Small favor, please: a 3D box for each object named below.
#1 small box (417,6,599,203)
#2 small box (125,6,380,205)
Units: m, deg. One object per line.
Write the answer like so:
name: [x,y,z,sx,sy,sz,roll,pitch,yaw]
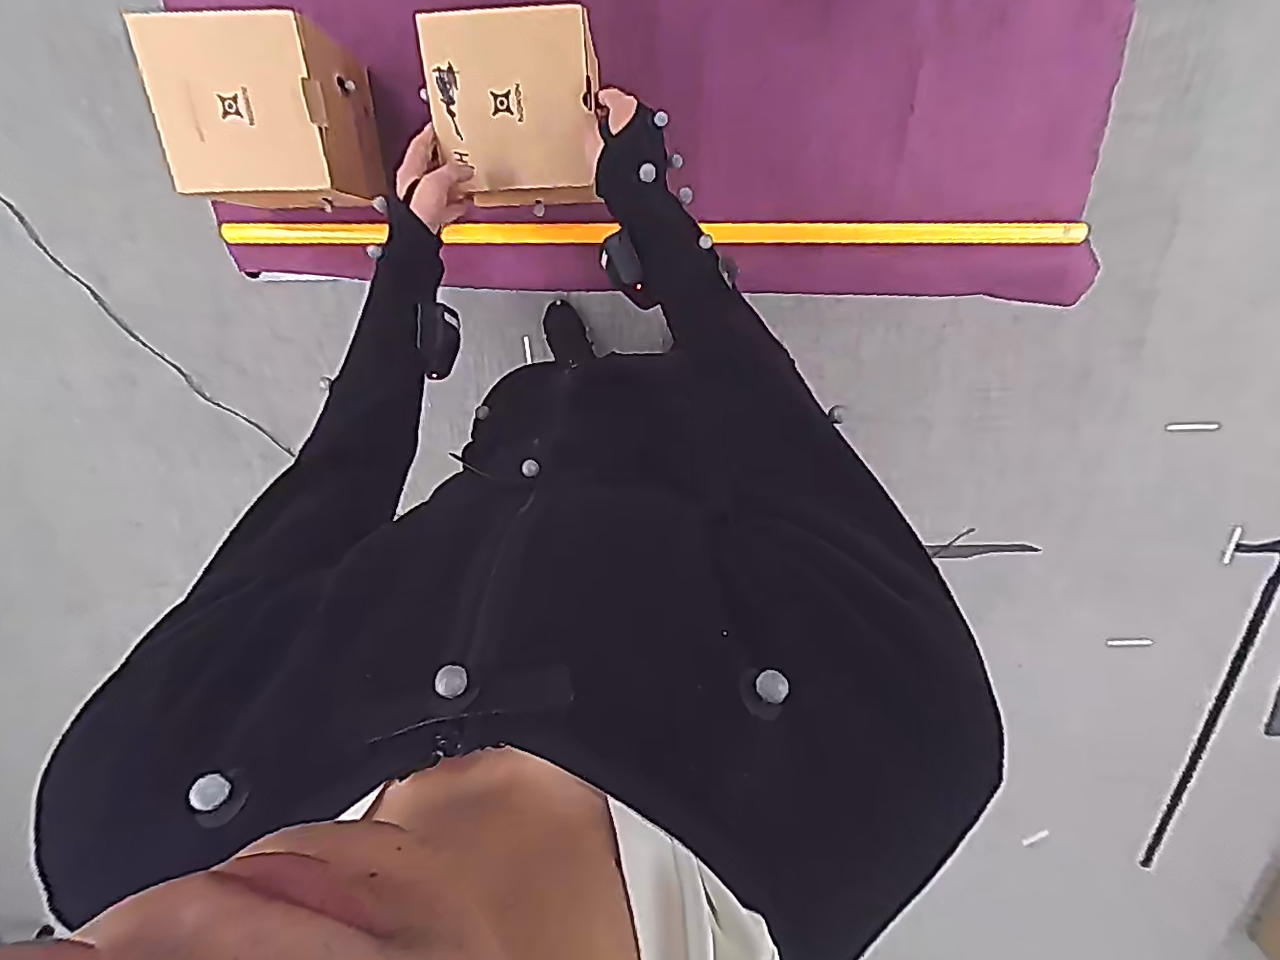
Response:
small box: [-0.141,-0.437,0.654,0.179,0.176,0.168,-2,112,0]
small box: [-0.436,-0.433,0.652,0.179,0.176,0.168,-3,111,-2]
